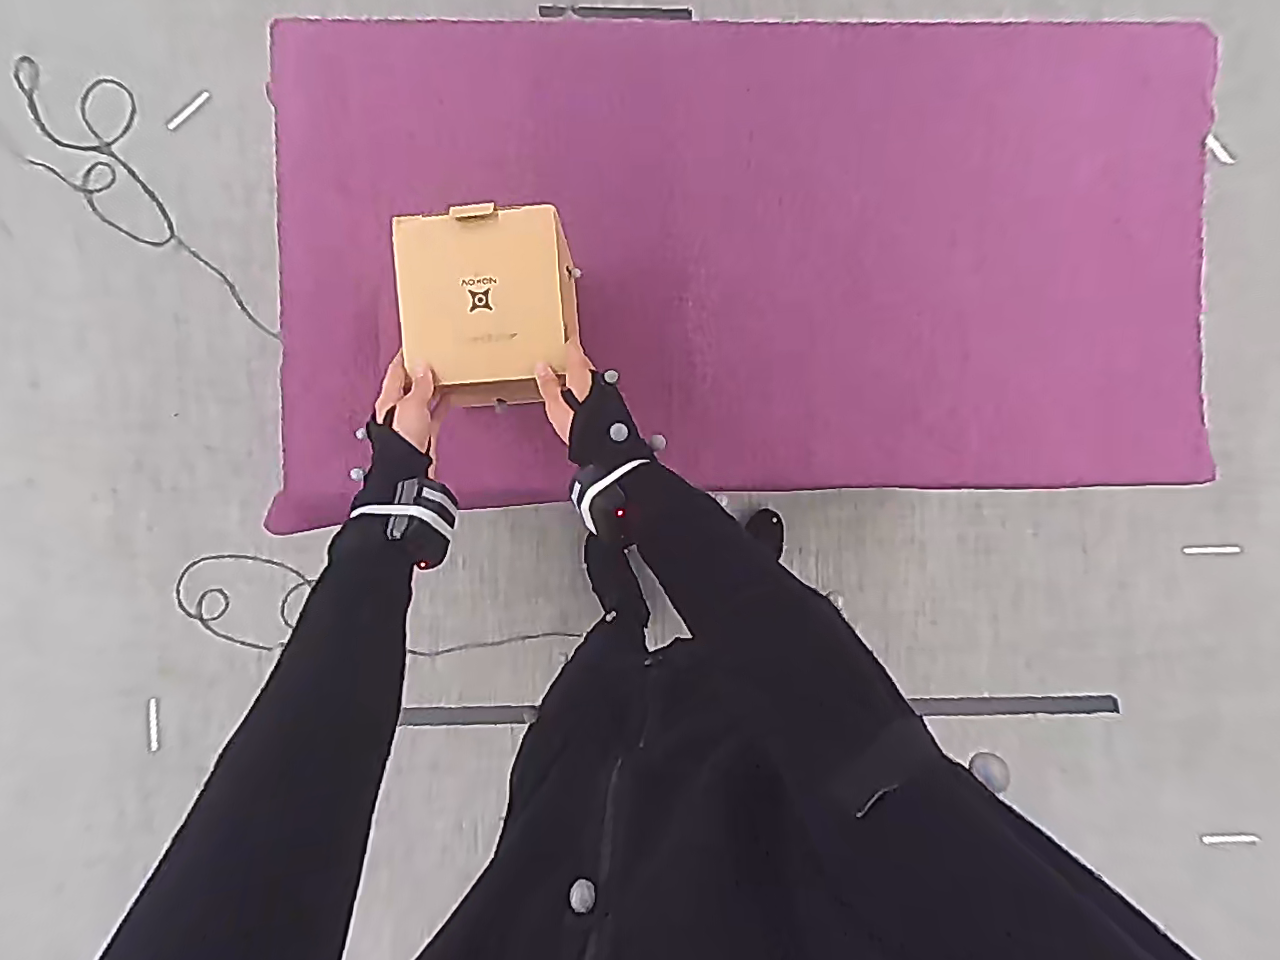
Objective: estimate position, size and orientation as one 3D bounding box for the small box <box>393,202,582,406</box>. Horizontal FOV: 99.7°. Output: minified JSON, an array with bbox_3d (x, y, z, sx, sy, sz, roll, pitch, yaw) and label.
[{"bbox_3d":[-0.160,-0.186,0.615,0.168,0.176,0.179,-4,91,0],"label":"small box"}]
